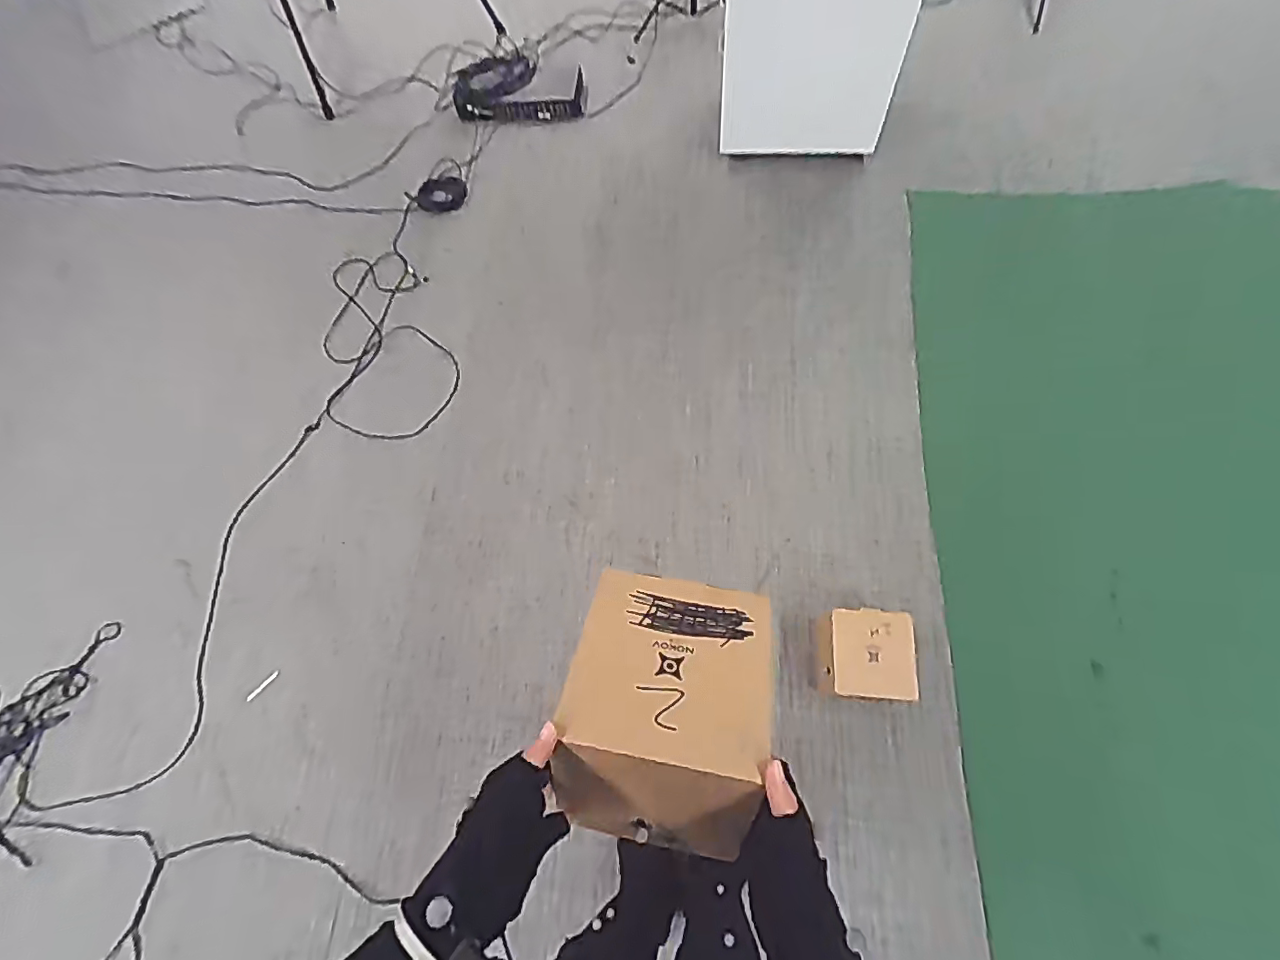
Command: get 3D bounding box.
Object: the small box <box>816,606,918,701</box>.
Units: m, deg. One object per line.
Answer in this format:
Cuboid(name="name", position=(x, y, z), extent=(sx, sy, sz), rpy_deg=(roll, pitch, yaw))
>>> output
Cuboid(name="small box", position=(0.487, 0.381, 1.183), extent=(0.168, 0.176, 0.179), rpy_deg=(3, 69, 6))
